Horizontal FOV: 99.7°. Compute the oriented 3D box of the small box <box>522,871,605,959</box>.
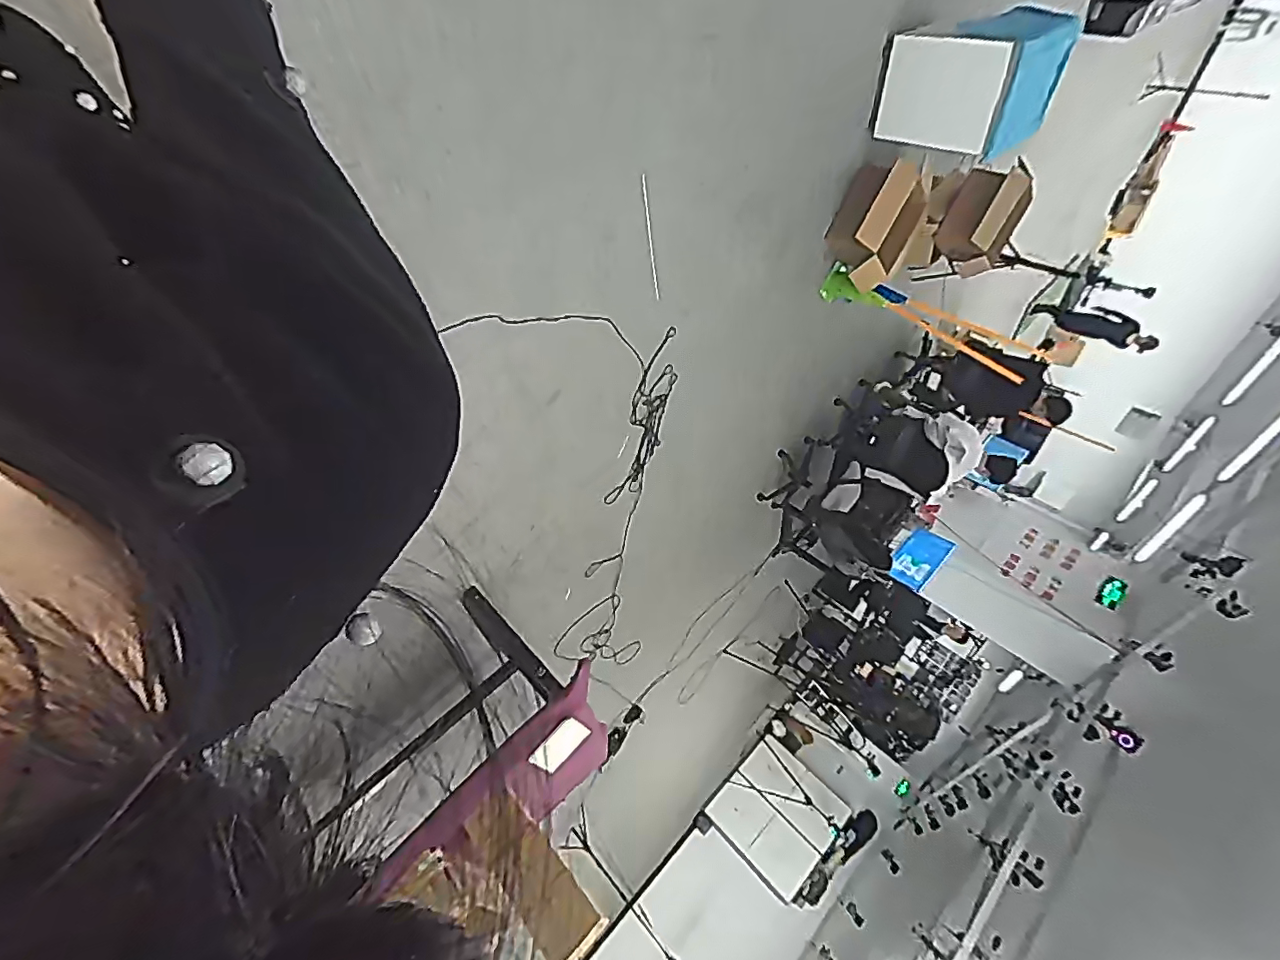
[{"bbox_3d":[-0.229,1.304,1.589,0.179,0.176,0.168,-37,145,-25],"label":"small box"}]

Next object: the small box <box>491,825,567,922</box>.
[{"bbox_3d":[-0.342,1.223,1.676,0.179,0.176,0.168,-37,145,-25],"label":"small box"}]

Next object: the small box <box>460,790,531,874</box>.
[{"bbox_3d":[-0.459,1.153,1.768,0.168,0.176,0.179,-37,145,-25],"label":"small box"}]
